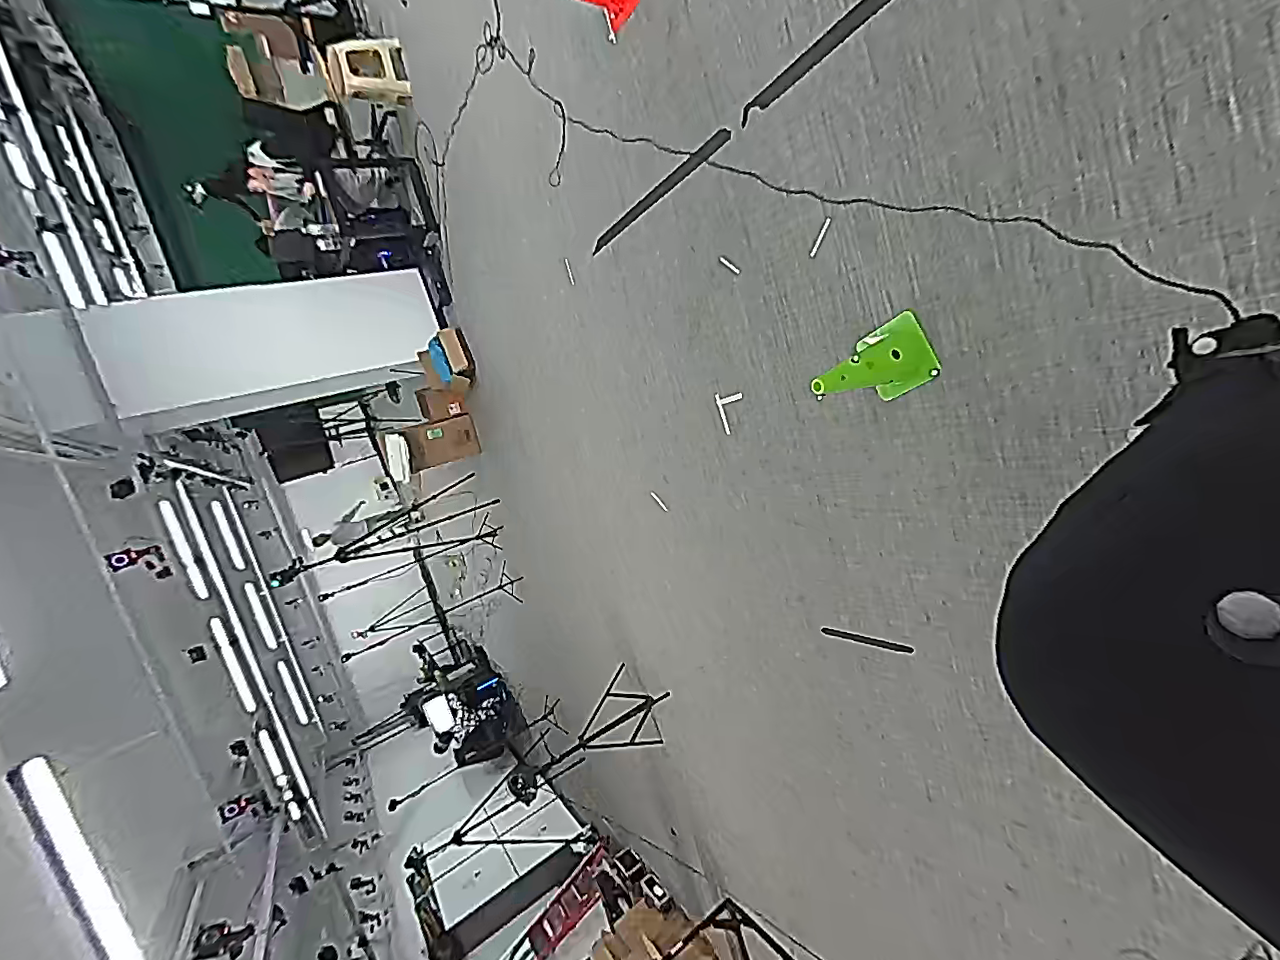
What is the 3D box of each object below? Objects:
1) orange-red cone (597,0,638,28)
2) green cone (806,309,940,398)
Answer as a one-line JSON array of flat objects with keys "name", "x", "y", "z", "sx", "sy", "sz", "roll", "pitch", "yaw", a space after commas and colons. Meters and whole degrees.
[{"name": "orange-red cone", "x": -0.210, "y": -1.732, "z": 1.862, "sx": 0.199, "sy": 0.360, "sz": 0.198, "roll": 9, "pitch": 116, "yaw": 56}, {"name": "green cone", "x": 0.587, "y": -0.301, "z": 1.452, "sx": 0.200, "sy": 0.368, "sz": 0.202, "roll": 66, "pitch": 152, "yaw": 6}]
